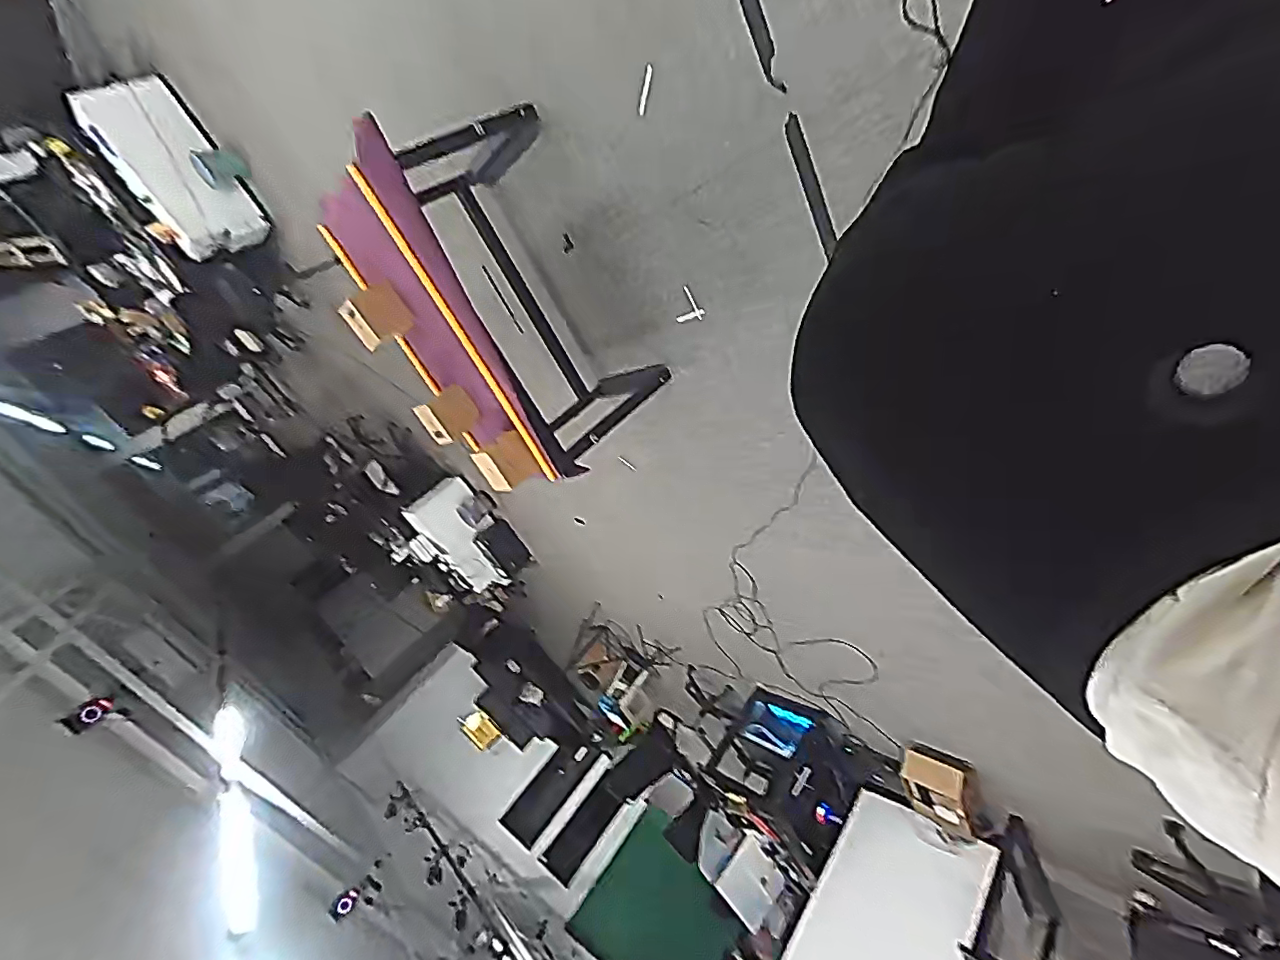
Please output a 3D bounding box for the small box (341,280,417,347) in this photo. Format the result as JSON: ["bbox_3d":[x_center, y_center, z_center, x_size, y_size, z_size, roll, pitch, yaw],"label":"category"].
[{"bbox_3d":[-0.987,-0.637,2.049,0.168,0.176,0.179,-4,125,52],"label":"small box"}]

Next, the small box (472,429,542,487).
[{"bbox_3d":[-0.519,-0.089,2.122,0.168,0.176,0.179,-1,125,52],"label":"small box"}]
